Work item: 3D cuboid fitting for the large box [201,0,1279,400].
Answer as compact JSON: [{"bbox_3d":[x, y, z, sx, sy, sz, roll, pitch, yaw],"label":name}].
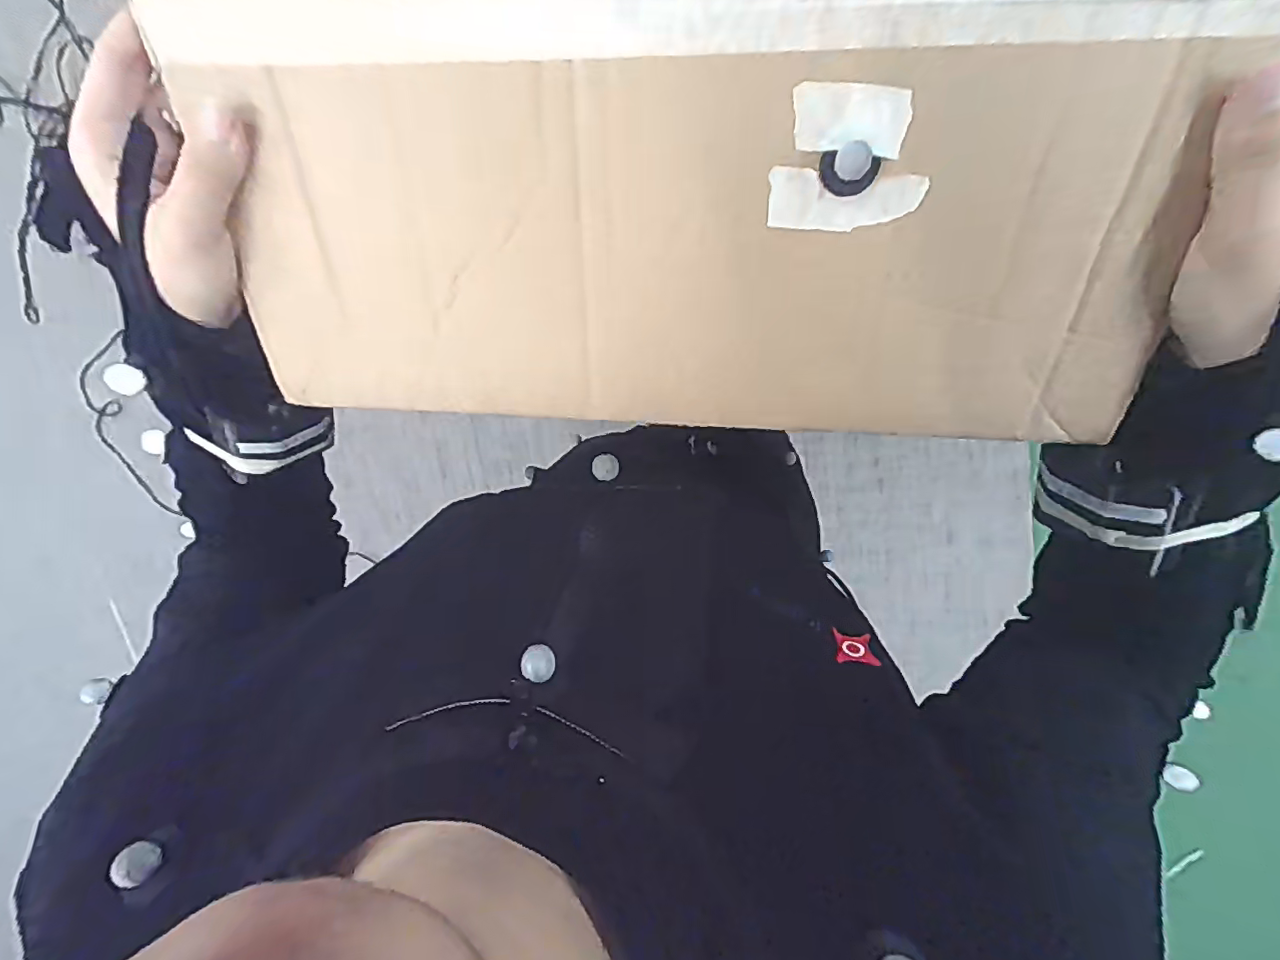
[{"bbox_3d":[0.036,-0.250,0.327,0.408,0.320,0.320,2,122,5],"label":"large box"}]
